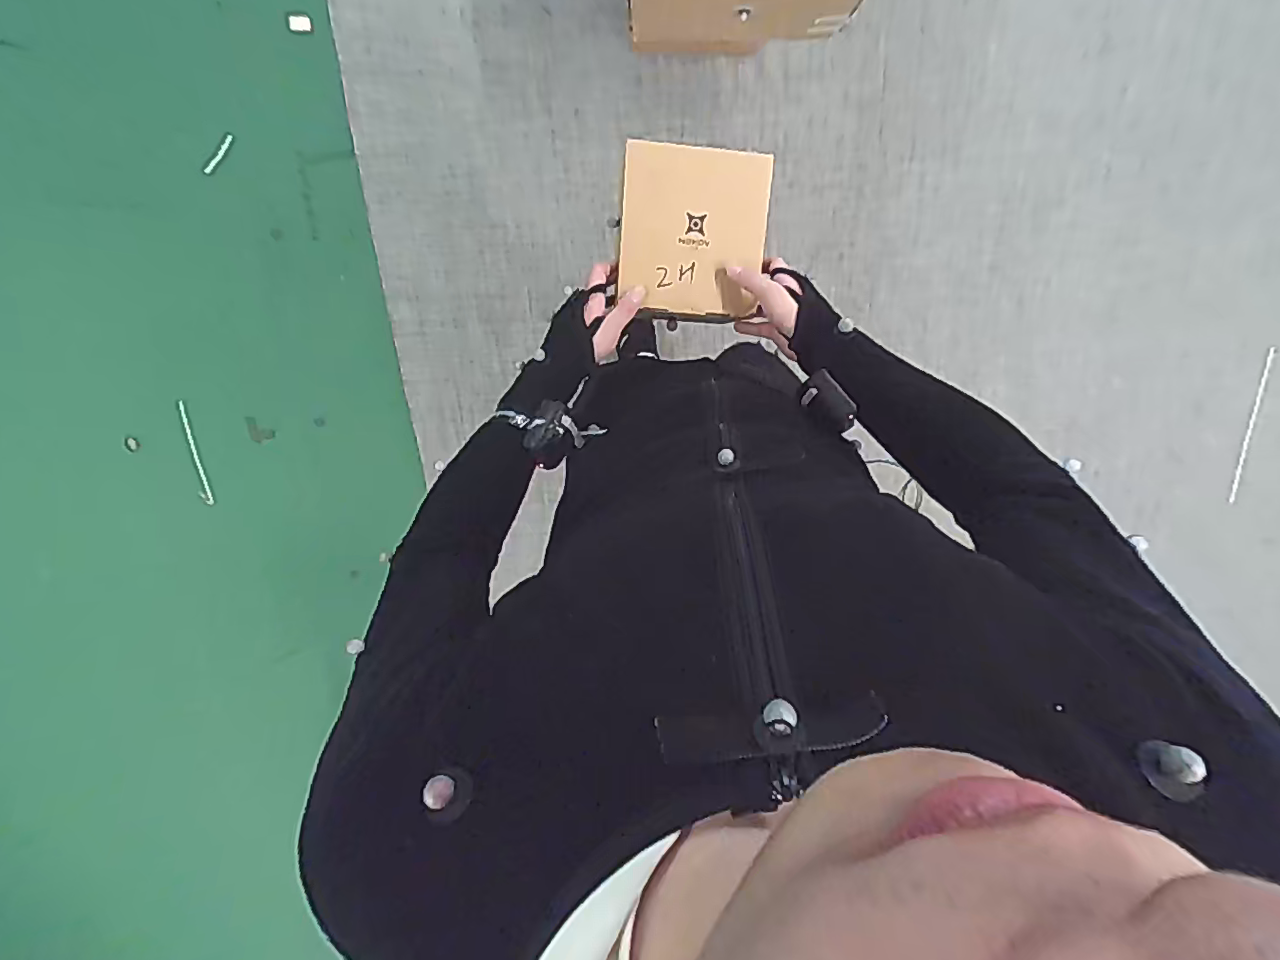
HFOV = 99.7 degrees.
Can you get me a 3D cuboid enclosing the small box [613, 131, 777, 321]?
[{"bbox_3d":[0.056,-0.299,0.675,0.168,0.176,0.179,4,104,-5],"label":"small box"}]
